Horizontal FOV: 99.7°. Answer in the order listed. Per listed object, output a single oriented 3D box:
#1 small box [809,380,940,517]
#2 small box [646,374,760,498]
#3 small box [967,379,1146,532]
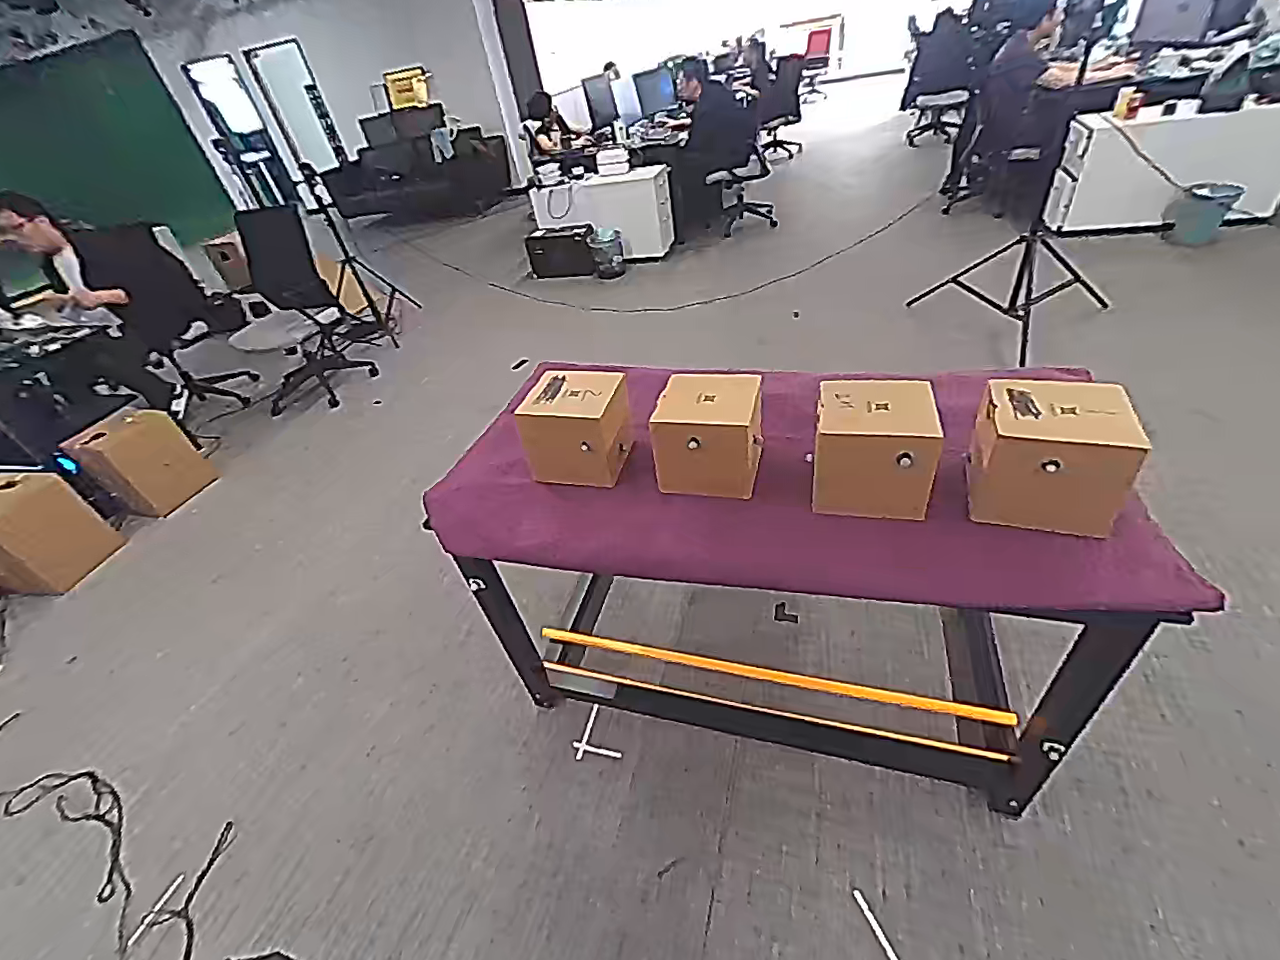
[{"bbox_3d":[0.383,-0.053,0.909,0.179,0.176,0.168,3,39,18],"label":"small box"},{"bbox_3d":[0.128,-0.082,1.016,0.179,0.176,0.168,3,41,19],"label":"small box"},{"bbox_3d":[0.616,-0.040,0.831,0.179,0.176,0.168,8,42,22],"label":"small box"}]
